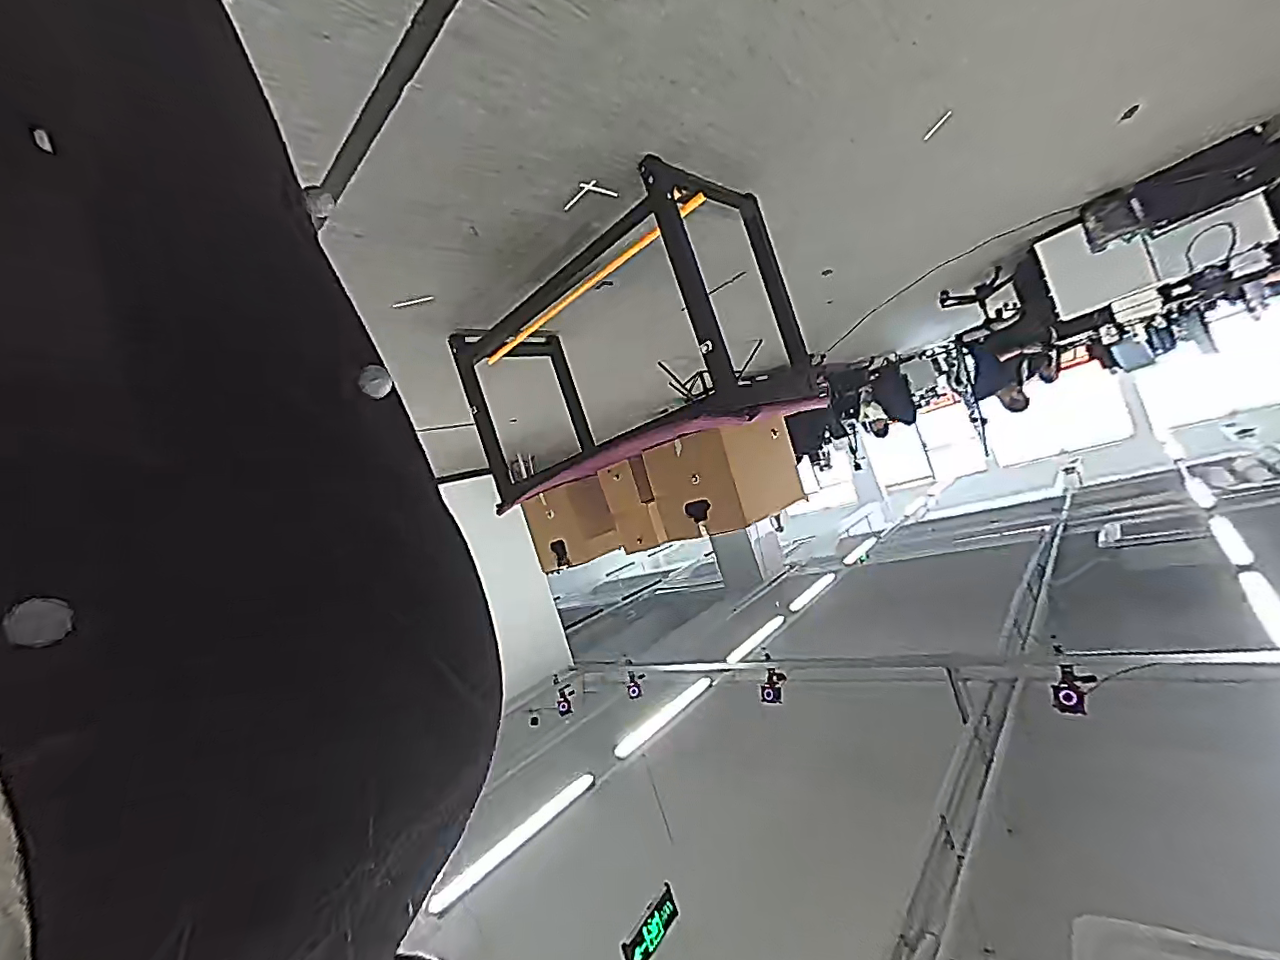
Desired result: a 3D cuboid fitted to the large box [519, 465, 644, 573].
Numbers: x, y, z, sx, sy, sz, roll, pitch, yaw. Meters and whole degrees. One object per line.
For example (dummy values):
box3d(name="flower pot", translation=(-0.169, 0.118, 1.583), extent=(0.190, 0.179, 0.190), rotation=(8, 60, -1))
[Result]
box3d(name="large box", translation=(-0.219, 0.153, 2.229), extent=(0.320, 0.320, 0.408), rotation=(-19, 179, 42))

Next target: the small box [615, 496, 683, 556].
box3d(name="small box", translation=(0.027, 0.166, 1.975), extent=(0.179, 0.176, 0.168), rotation=(-21, 177, 41))
